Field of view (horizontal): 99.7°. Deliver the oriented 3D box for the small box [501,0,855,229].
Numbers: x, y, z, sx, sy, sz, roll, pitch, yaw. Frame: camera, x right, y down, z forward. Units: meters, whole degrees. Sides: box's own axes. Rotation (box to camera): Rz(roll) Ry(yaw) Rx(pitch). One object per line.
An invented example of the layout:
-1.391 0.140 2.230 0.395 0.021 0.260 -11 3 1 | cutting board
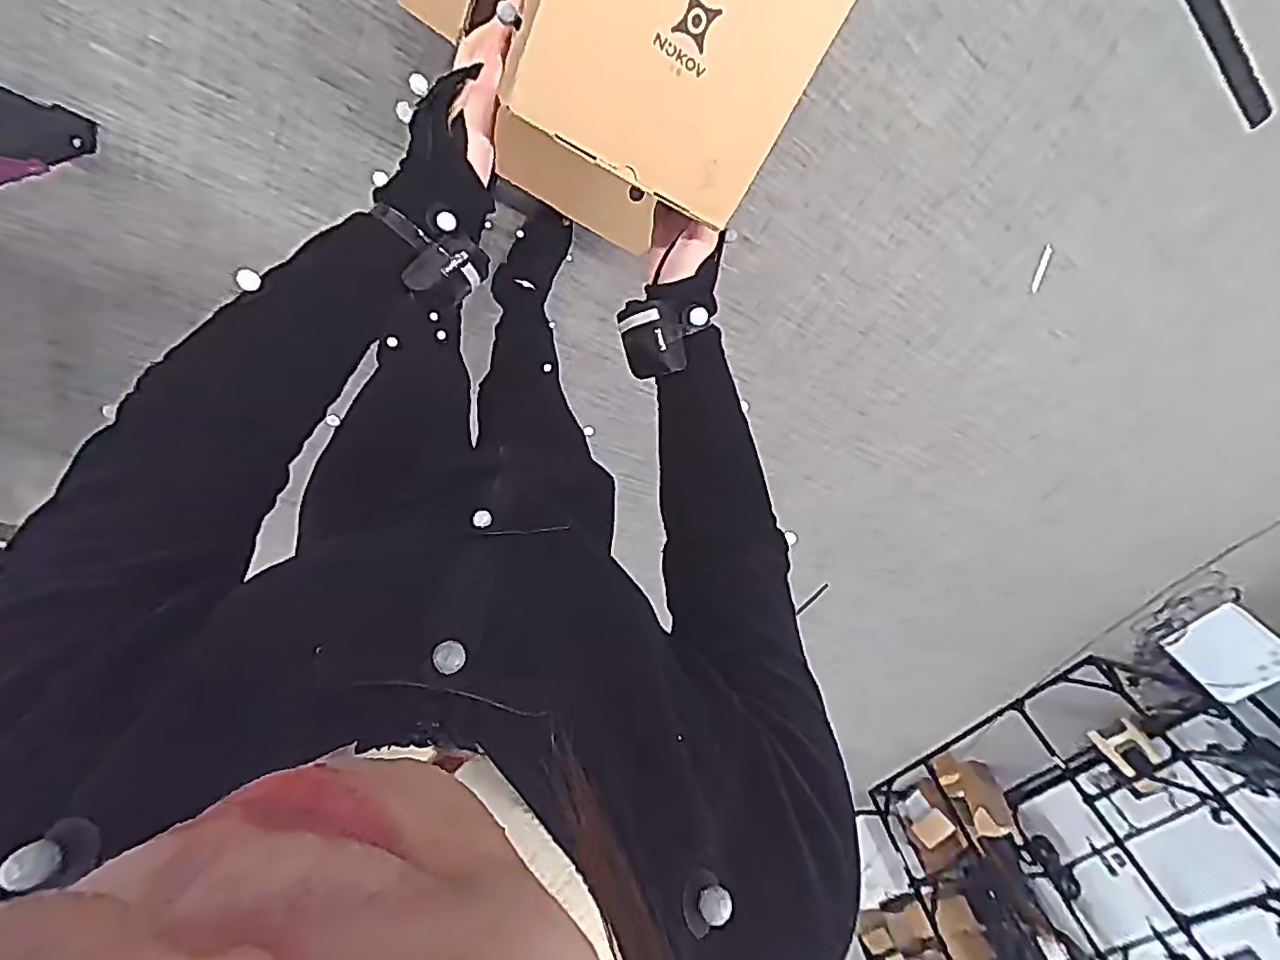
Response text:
0.011 -0.314 0.371 0.168 0.176 0.179 15 123 -29 | small box
